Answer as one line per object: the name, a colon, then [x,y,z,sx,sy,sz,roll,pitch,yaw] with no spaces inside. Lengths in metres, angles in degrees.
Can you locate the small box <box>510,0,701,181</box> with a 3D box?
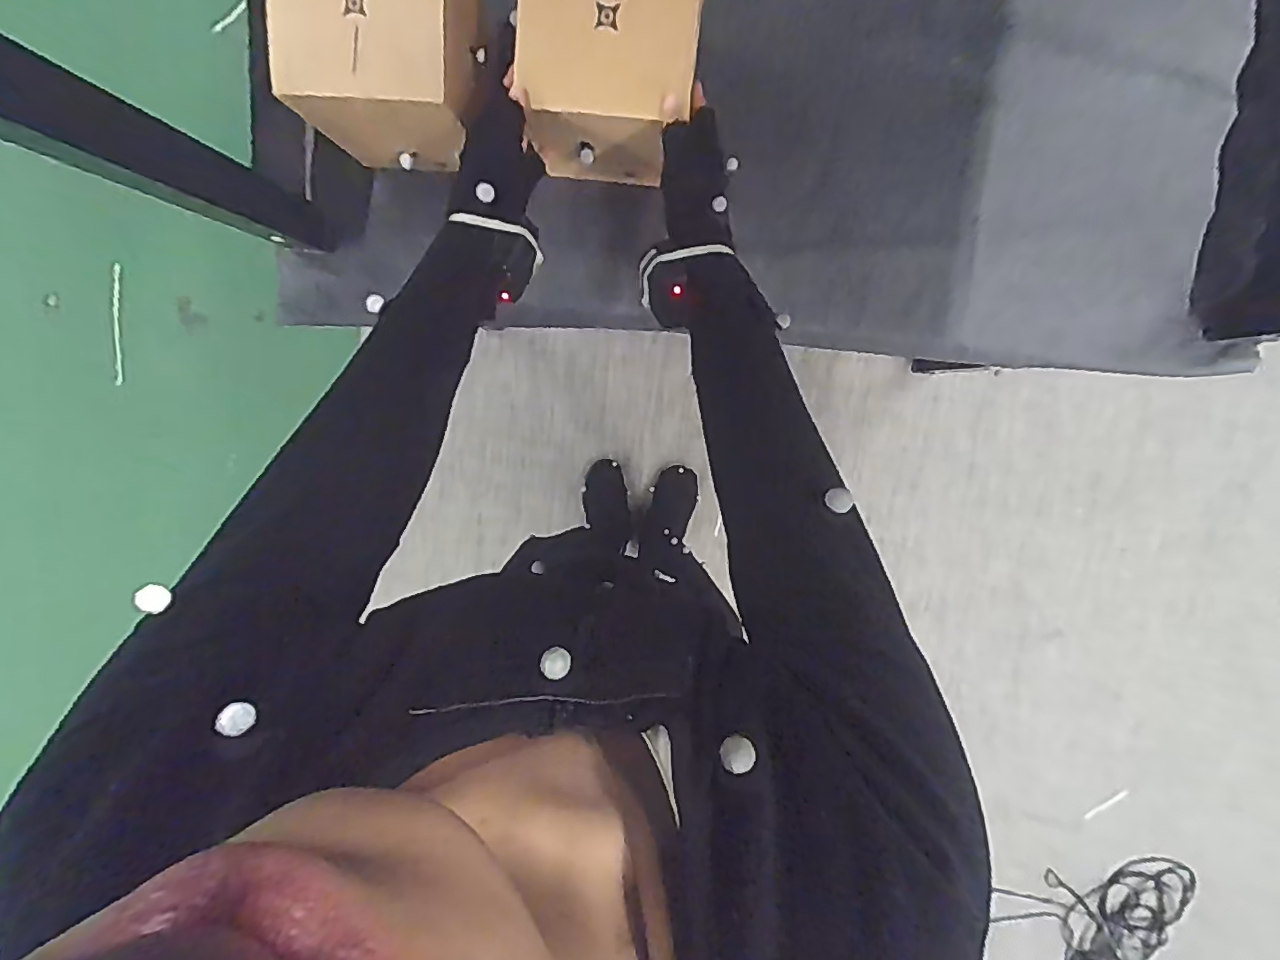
small box: [-0.027,-0.436,0.559,0.168,0.176,0.179,6,98,1]

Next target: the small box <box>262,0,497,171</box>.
small box: [-0.253,-0.453,0.560,0.168,0.176,0.179,4,99,1]
